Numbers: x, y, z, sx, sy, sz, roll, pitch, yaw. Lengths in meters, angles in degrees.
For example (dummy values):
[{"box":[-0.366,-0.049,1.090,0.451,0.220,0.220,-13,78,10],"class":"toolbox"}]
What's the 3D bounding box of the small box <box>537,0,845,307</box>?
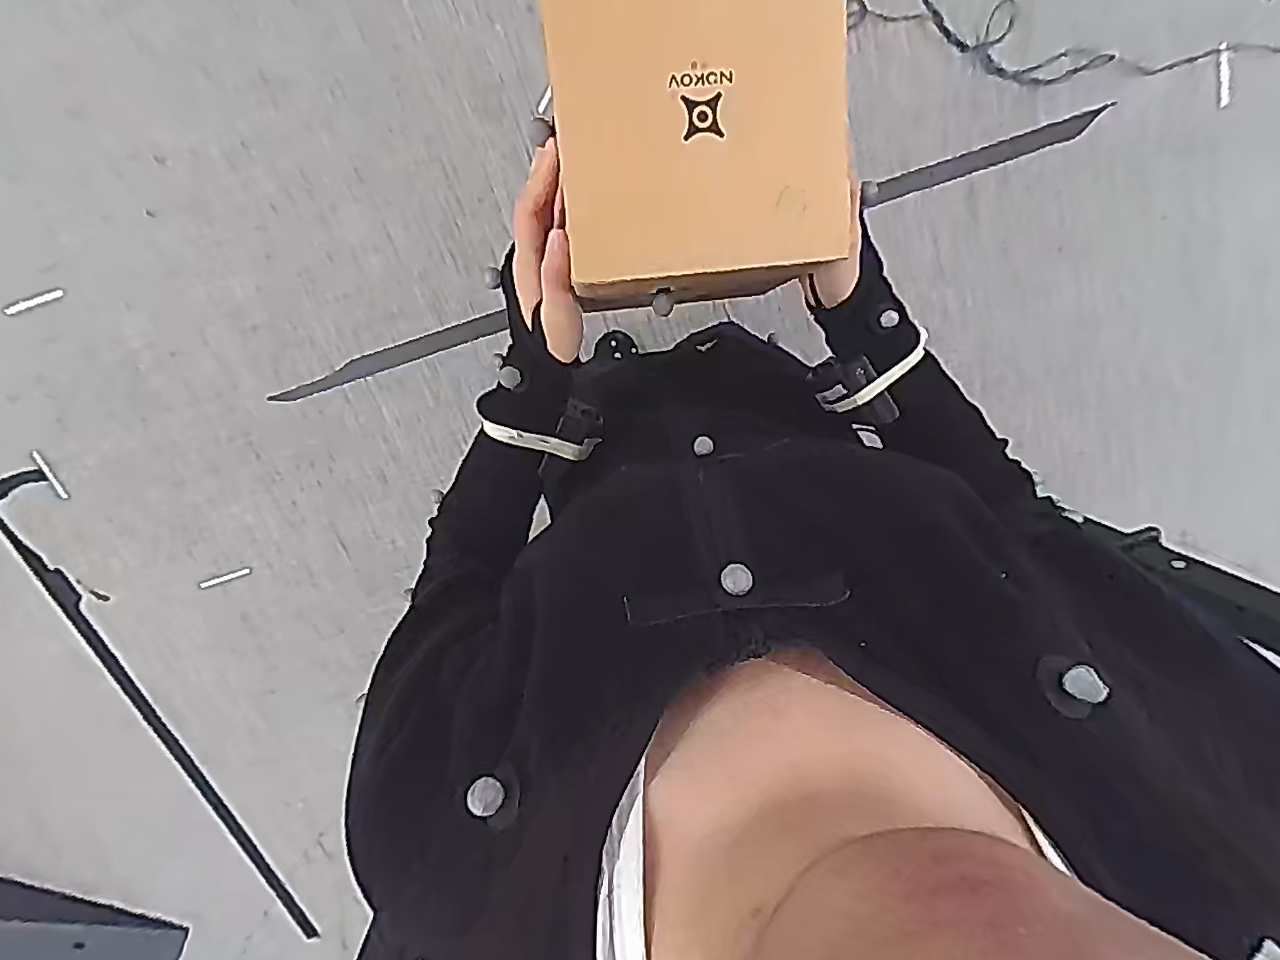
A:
[{"box":[0.027,-0.220,0.376,0.168,0.176,0.179,-7,101,-3],"class":"small box"}]
